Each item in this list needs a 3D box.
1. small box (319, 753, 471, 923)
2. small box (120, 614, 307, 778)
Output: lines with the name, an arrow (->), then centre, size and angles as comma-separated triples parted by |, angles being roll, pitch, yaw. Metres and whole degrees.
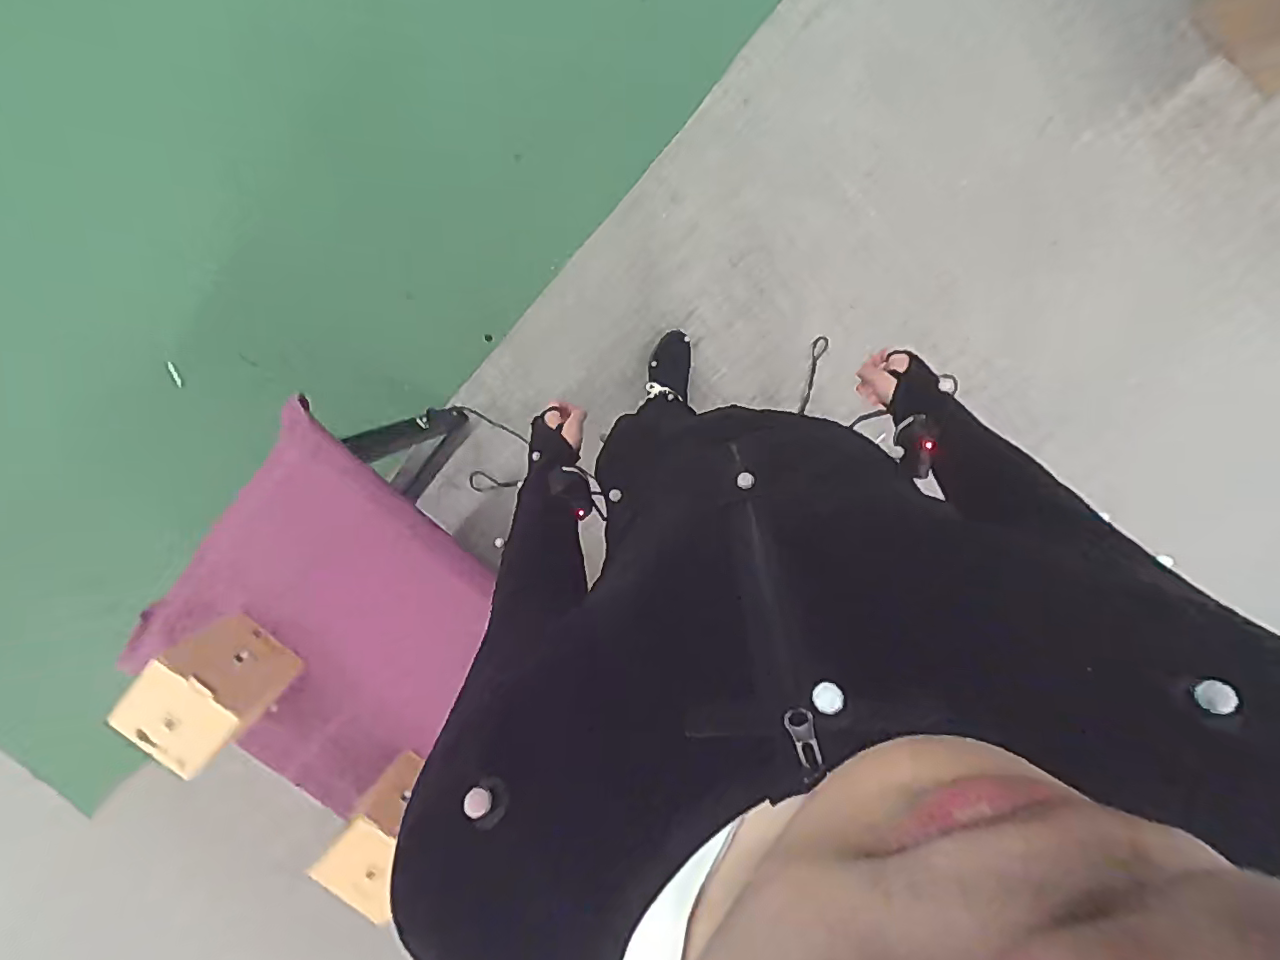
small box -> -0.445, 0.660, 1.016 | 0.168, 0.176, 0.179 | 41, 103, -5
small box -> -0.745, 0.376, 0.969 | 0.168, 0.176, 0.179 | 43, 102, -6
